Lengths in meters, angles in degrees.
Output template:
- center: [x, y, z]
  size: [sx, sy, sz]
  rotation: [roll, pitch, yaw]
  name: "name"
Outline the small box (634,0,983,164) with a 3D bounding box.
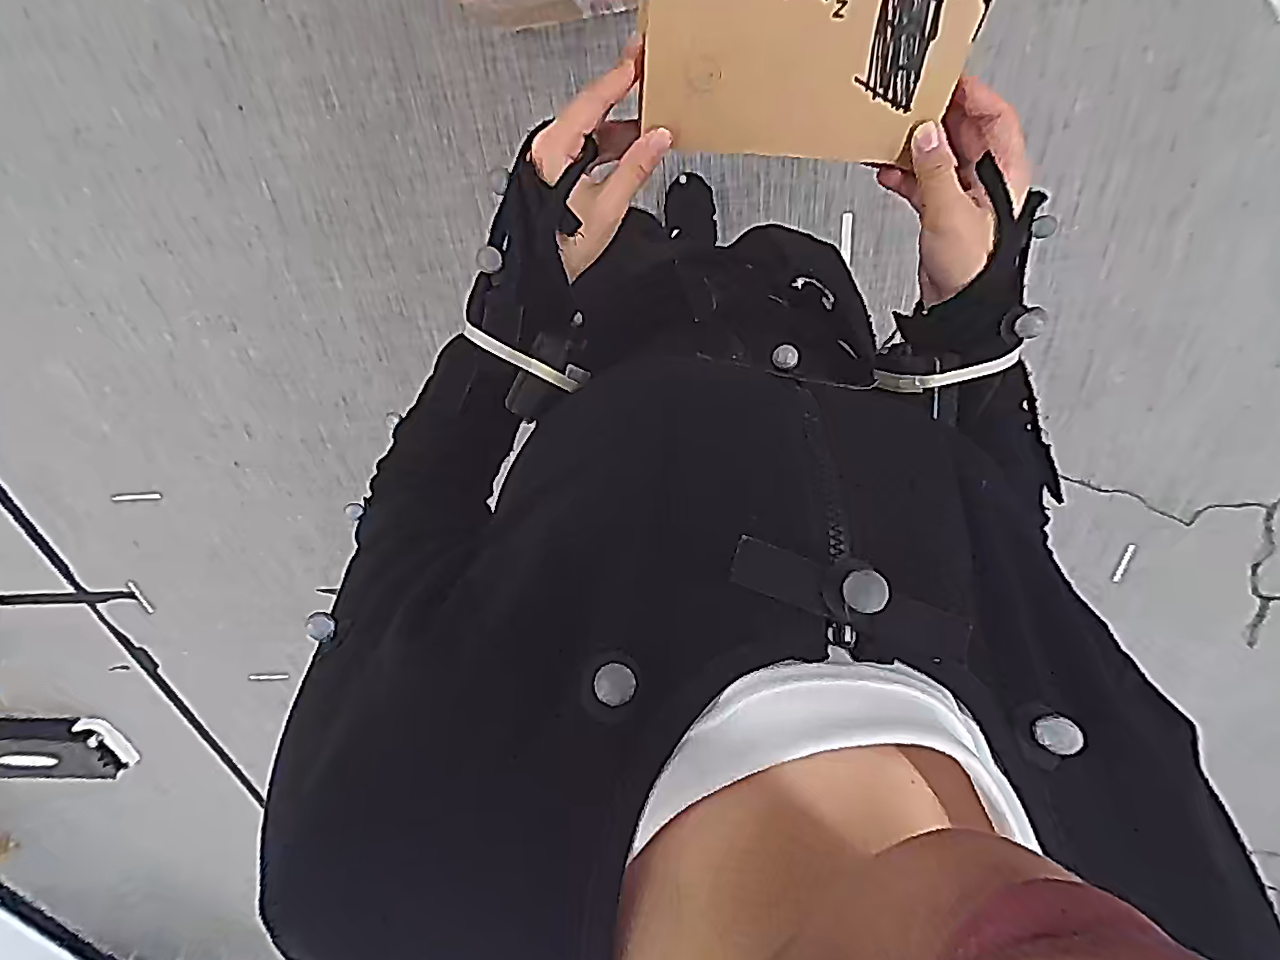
- center: [0.089, -0.312, 0.322]
  size: [0.179, 0.176, 0.168]
  rotation: [2, 139, -3]
  name: "small box"
